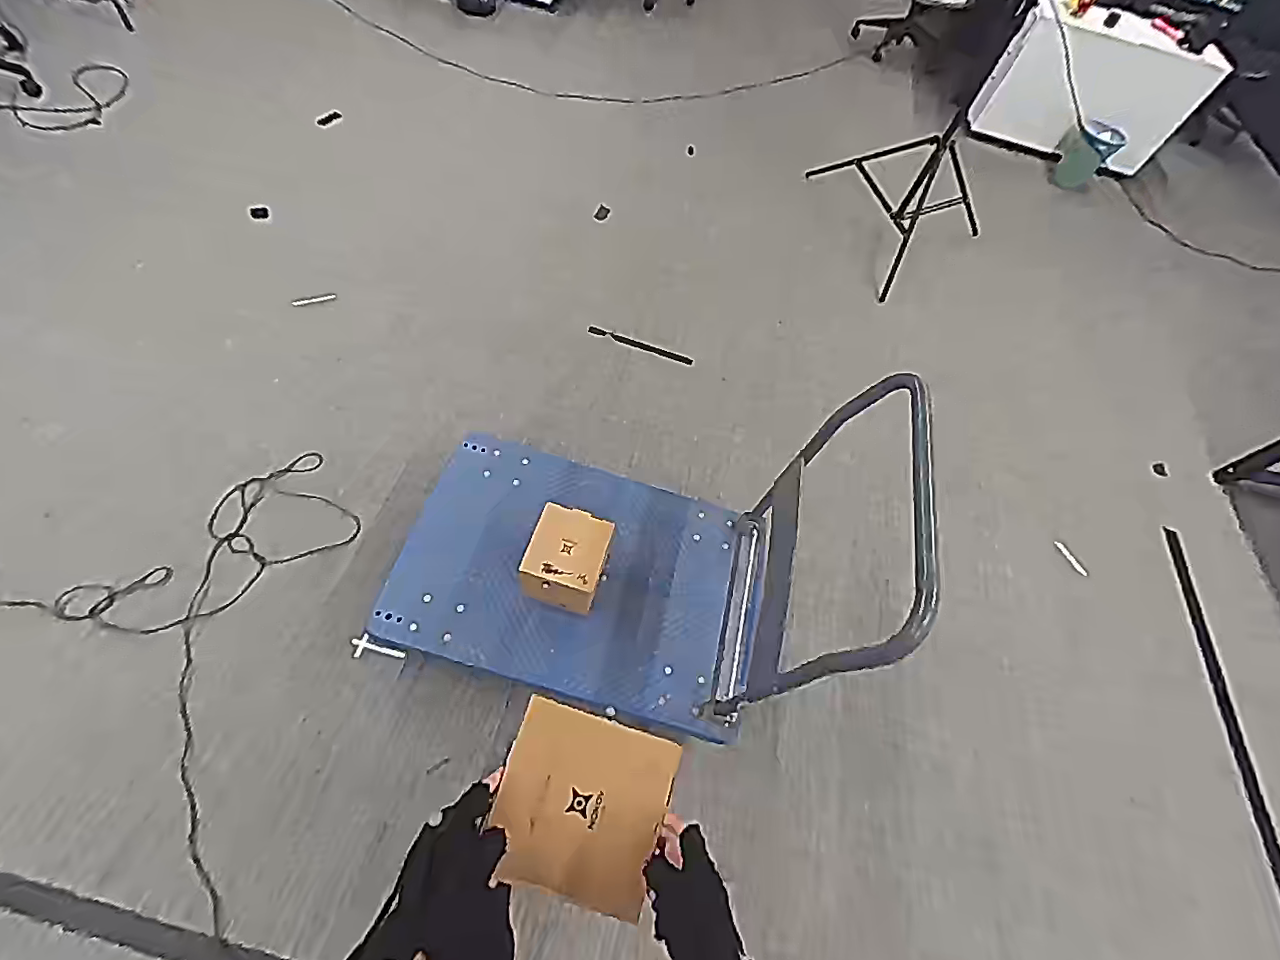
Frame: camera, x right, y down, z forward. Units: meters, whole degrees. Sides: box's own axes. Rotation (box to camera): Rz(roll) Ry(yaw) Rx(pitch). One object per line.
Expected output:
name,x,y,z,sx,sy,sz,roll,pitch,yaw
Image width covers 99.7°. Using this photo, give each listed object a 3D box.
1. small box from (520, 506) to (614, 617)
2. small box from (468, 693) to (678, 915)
small box,-0.171,0.193,1.254,0.168,0.176,0.179,18,57,1
small box,-0.076,0.358,0.629,0.179,0.176,0.168,20,65,-2
